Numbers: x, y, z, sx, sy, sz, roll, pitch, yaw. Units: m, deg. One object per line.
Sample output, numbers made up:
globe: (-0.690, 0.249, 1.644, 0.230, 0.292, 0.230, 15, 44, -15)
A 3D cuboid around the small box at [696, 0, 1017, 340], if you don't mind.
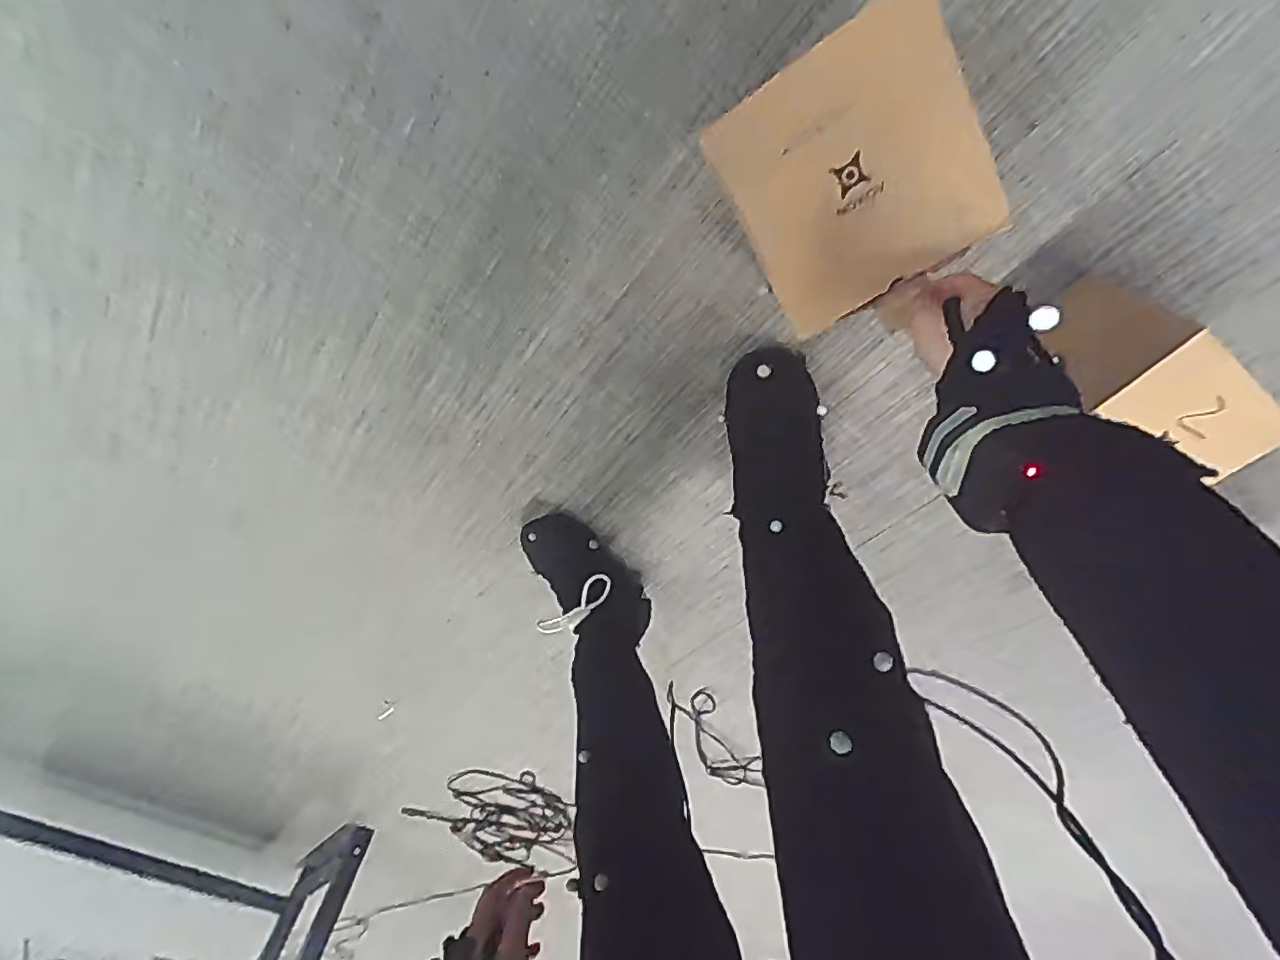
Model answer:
small box: (0.168, -0.248, 0.454, 0.168, 0.176, 0.179, -28, 105, 22)
